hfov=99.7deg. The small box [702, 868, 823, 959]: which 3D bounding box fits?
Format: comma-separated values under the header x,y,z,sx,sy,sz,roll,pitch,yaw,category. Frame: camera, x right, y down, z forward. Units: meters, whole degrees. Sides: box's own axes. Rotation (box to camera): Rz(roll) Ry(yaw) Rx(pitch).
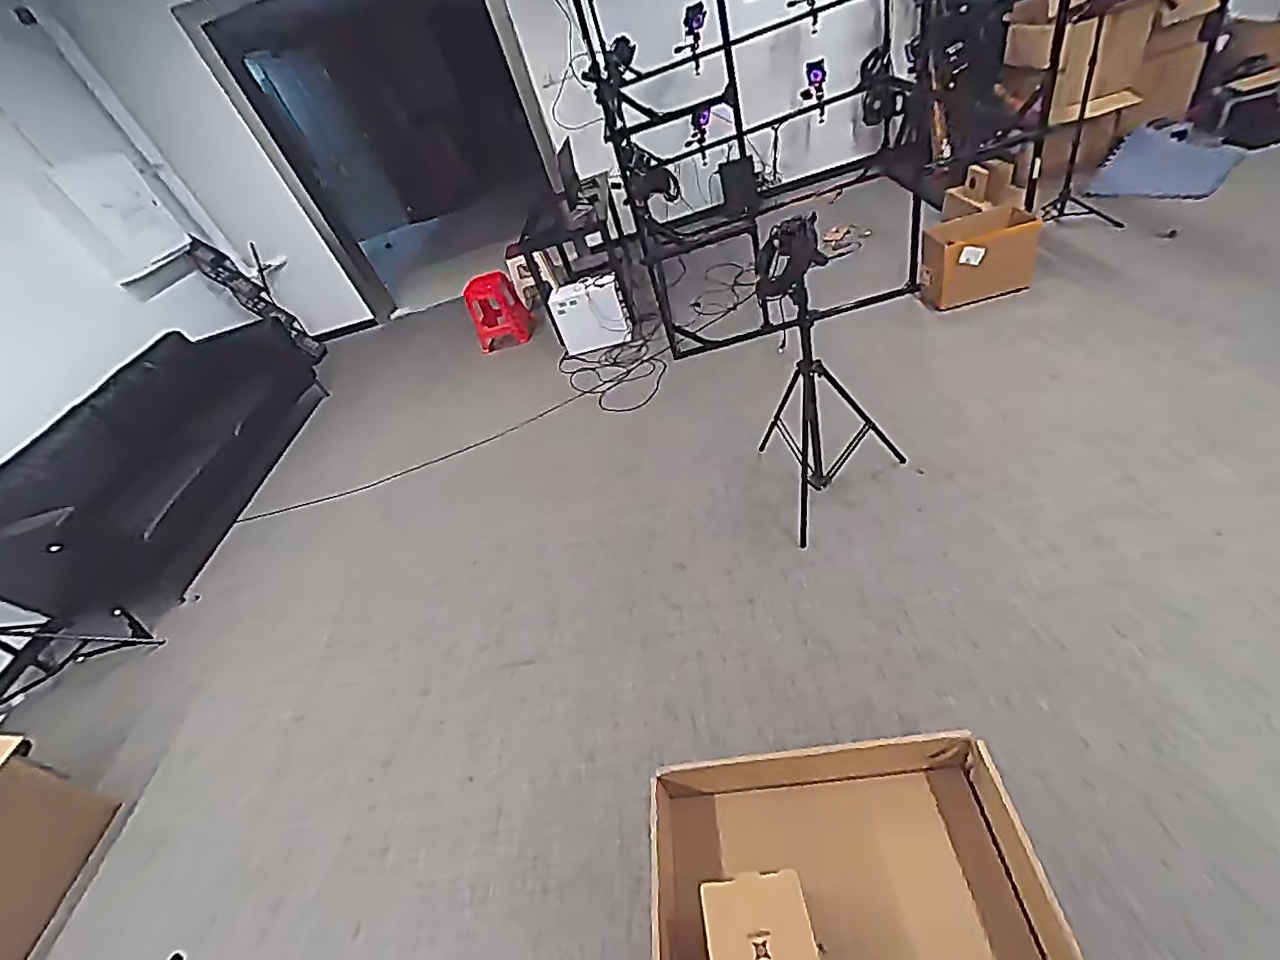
x,y,z,sx,sy,sz,roll,pitch,yaw,category
0.207,0.769,0.879,0.168,0.176,0.179,-16,39,7,small box
